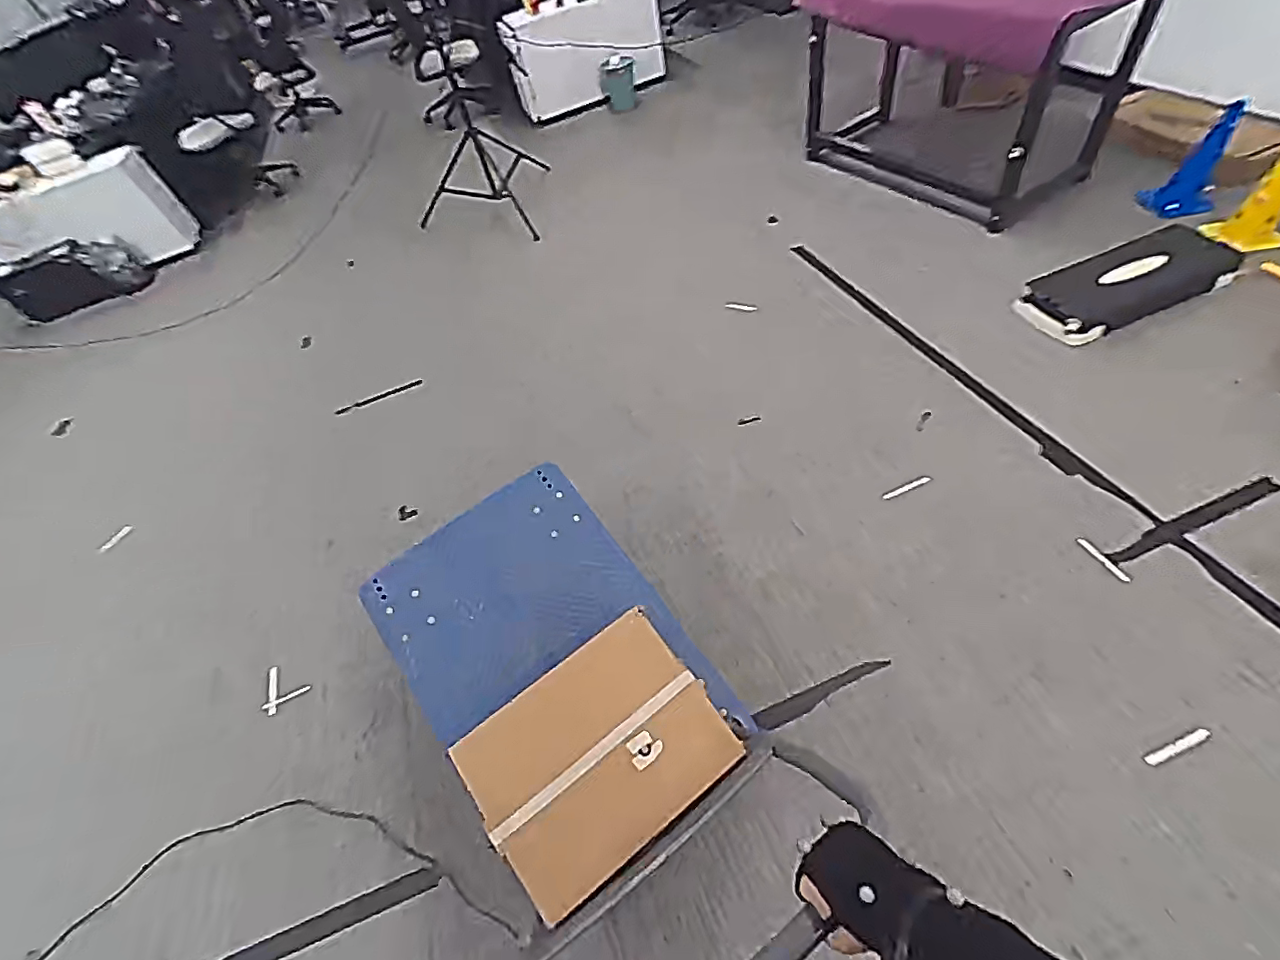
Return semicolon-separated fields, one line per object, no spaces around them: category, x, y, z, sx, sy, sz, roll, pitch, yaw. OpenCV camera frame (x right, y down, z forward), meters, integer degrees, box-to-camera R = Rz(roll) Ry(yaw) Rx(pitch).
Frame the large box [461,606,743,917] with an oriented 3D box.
large box;-0.068;0.522;1.070;0.408;0.320;0.320;-35;72;-15
